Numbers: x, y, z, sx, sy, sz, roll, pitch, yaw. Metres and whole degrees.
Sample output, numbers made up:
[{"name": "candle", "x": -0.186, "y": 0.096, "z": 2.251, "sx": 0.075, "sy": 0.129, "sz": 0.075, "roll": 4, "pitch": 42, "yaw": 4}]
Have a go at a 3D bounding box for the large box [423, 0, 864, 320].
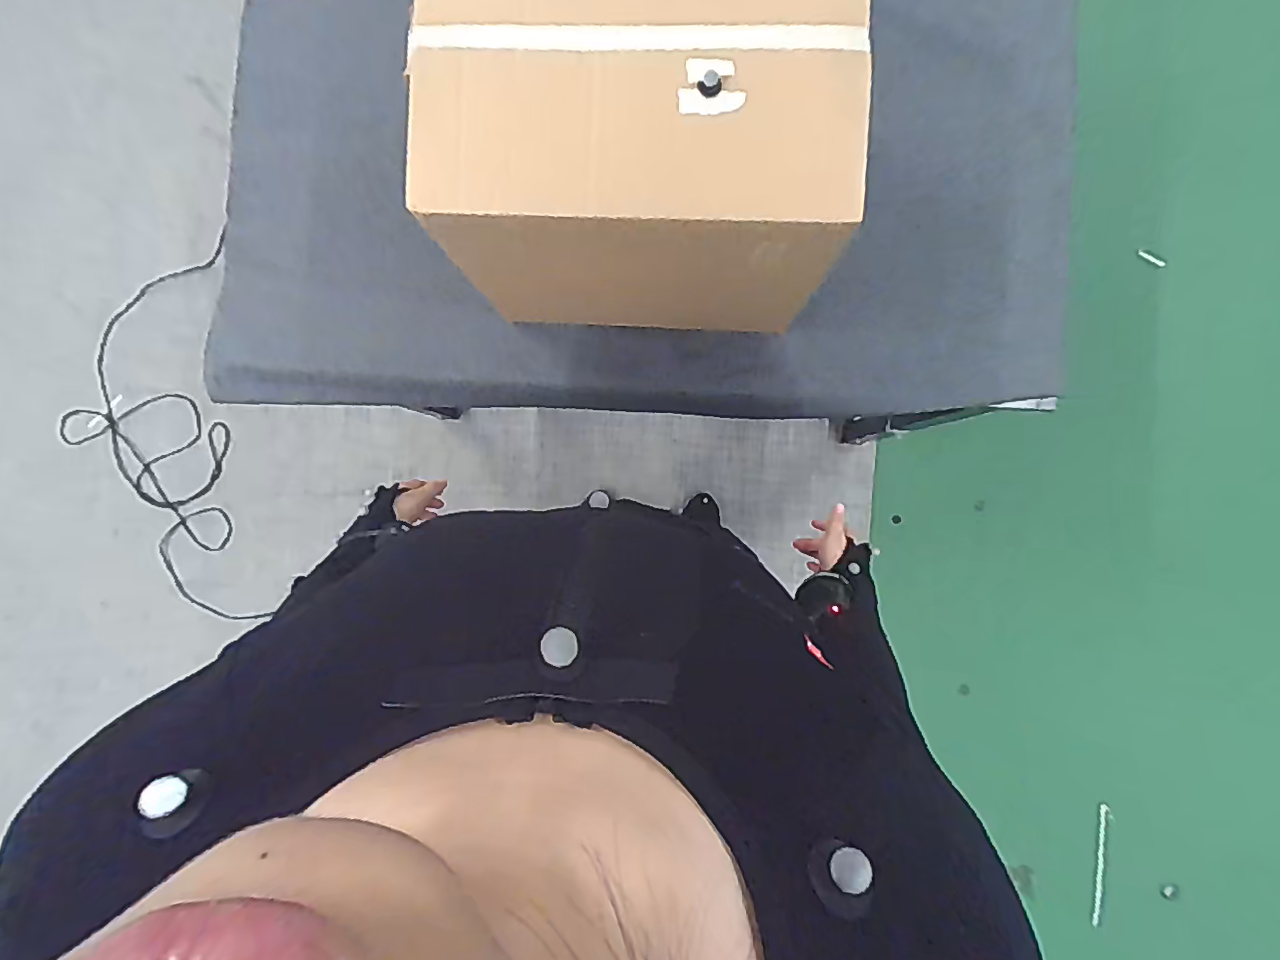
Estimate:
[{"name": "large box", "x": 0.006, "y": -0.389, "z": 0.640, "sx": 0.408, "sy": 0.320, "sz": 0.320, "roll": 2, "pitch": 89, "yaw": 2}]
